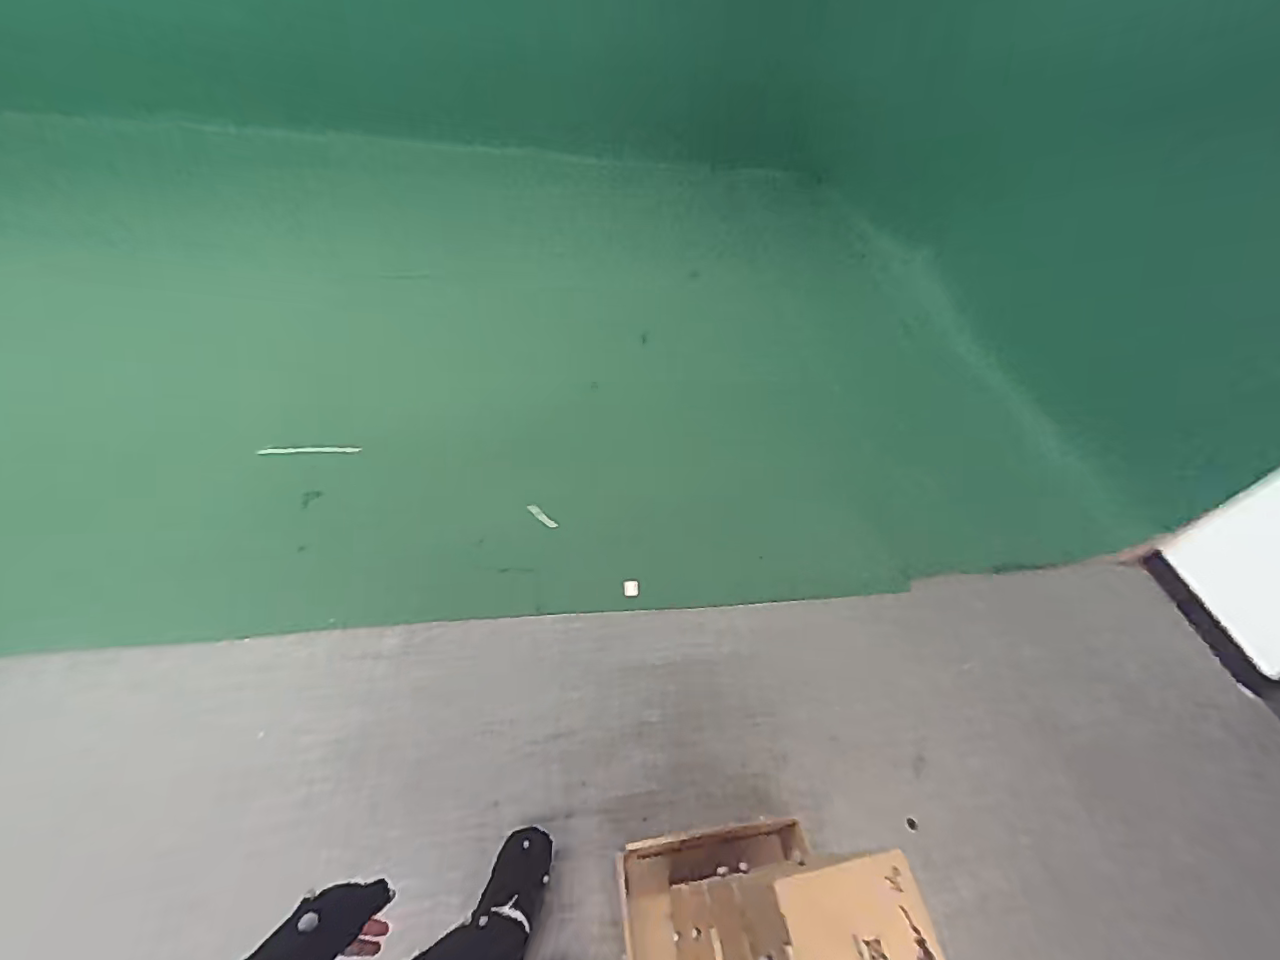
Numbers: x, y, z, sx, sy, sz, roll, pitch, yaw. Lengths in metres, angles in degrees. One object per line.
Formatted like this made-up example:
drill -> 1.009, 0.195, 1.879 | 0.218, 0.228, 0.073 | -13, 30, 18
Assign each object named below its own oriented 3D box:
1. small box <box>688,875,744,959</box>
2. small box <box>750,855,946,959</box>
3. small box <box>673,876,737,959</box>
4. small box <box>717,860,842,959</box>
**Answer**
small box -> 0.195, 0.776, 0.917 | 0.179, 0.176, 0.168 | -2, 53, -11
small box -> 0.247, 0.577, 0.662 | 0.179, 0.176, 0.168 | -4, 55, -11
small box -> 0.172, 0.874, 1.045 | 0.179, 0.176, 0.168 | -1, 52, -10
small box -> 0.222, 0.675, 0.792 | 0.179, 0.176, 0.168 | -4, 54, -12
